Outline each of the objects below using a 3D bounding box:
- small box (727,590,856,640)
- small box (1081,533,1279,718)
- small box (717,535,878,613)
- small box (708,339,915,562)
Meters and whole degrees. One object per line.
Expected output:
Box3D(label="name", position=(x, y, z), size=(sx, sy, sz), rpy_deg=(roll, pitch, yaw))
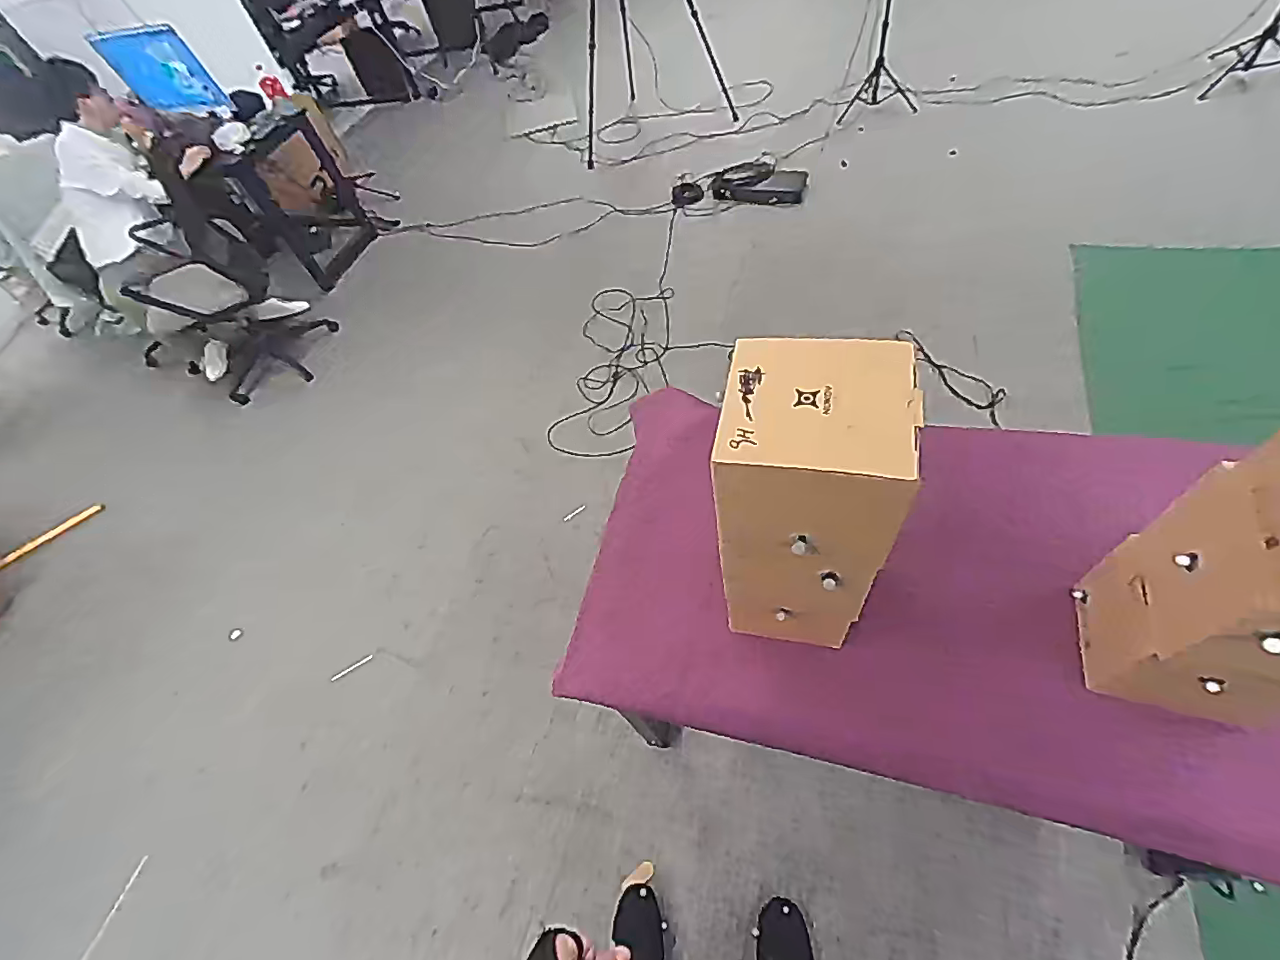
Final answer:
Box3D(label="small box", position=(0.240, 0.141, 0.853), size=(0.179, 0.176, 0.168), rpy_deg=(5, 58, 17))
Box3D(label="small box", position=(0.713, 0.193, 0.705), size=(0.179, 0.176, 0.168), rpy_deg=(10, 59, 19))
Box3D(label="small box", position=(0.208, 0.061, 0.711), size=(0.179, 0.176, 0.168), rpy_deg=(7, 58, 18))
Box3D(label="small box", position=(0.178, -0.027, 0.576), size=(0.179, 0.176, 0.168), rpy_deg=(7, 58, 17))
